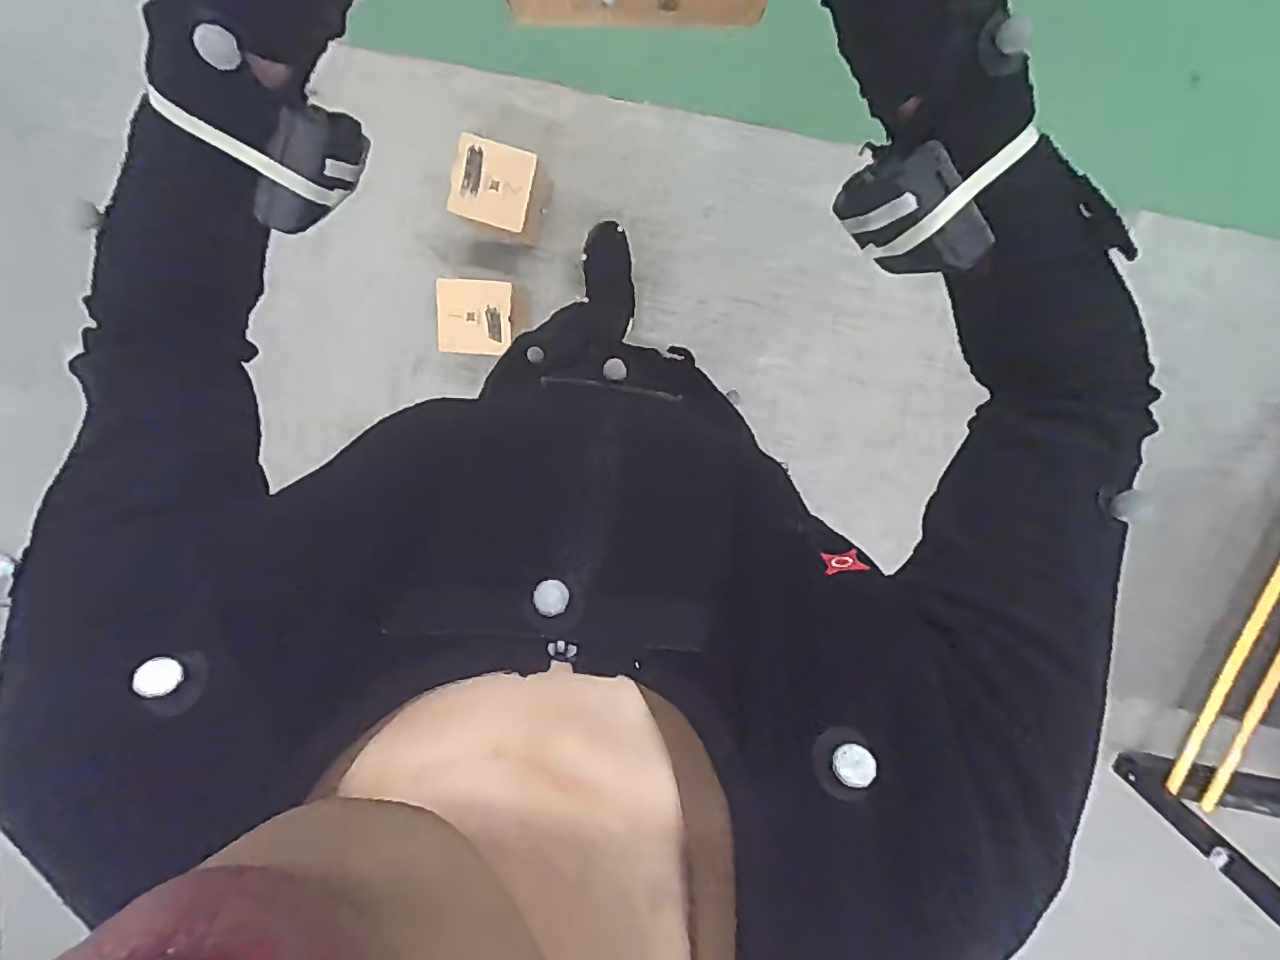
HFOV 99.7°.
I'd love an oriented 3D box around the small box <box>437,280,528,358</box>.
[{"bbox_3d":[-0.374,-0.387,1.316,0.179,0.176,0.168,4,103,2],"label":"small box"}]
